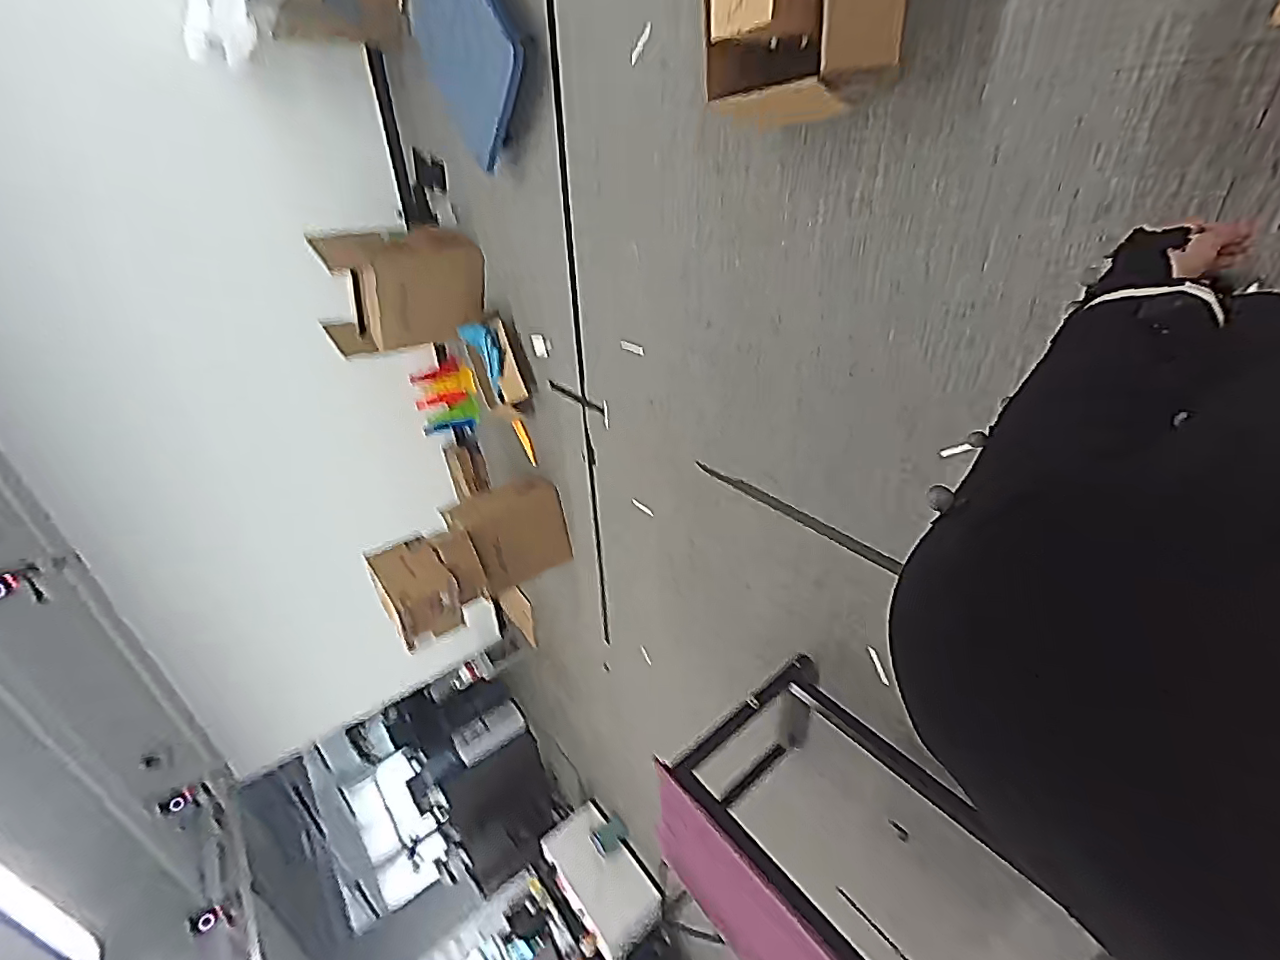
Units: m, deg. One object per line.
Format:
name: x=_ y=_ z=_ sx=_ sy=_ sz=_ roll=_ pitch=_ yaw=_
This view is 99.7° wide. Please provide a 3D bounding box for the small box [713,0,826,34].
small box: x=0.266 y=-1.028 z=1.087 sx=0.168 sy=0.176 sz=0.179 roll=31 pitch=135 yaw=44
